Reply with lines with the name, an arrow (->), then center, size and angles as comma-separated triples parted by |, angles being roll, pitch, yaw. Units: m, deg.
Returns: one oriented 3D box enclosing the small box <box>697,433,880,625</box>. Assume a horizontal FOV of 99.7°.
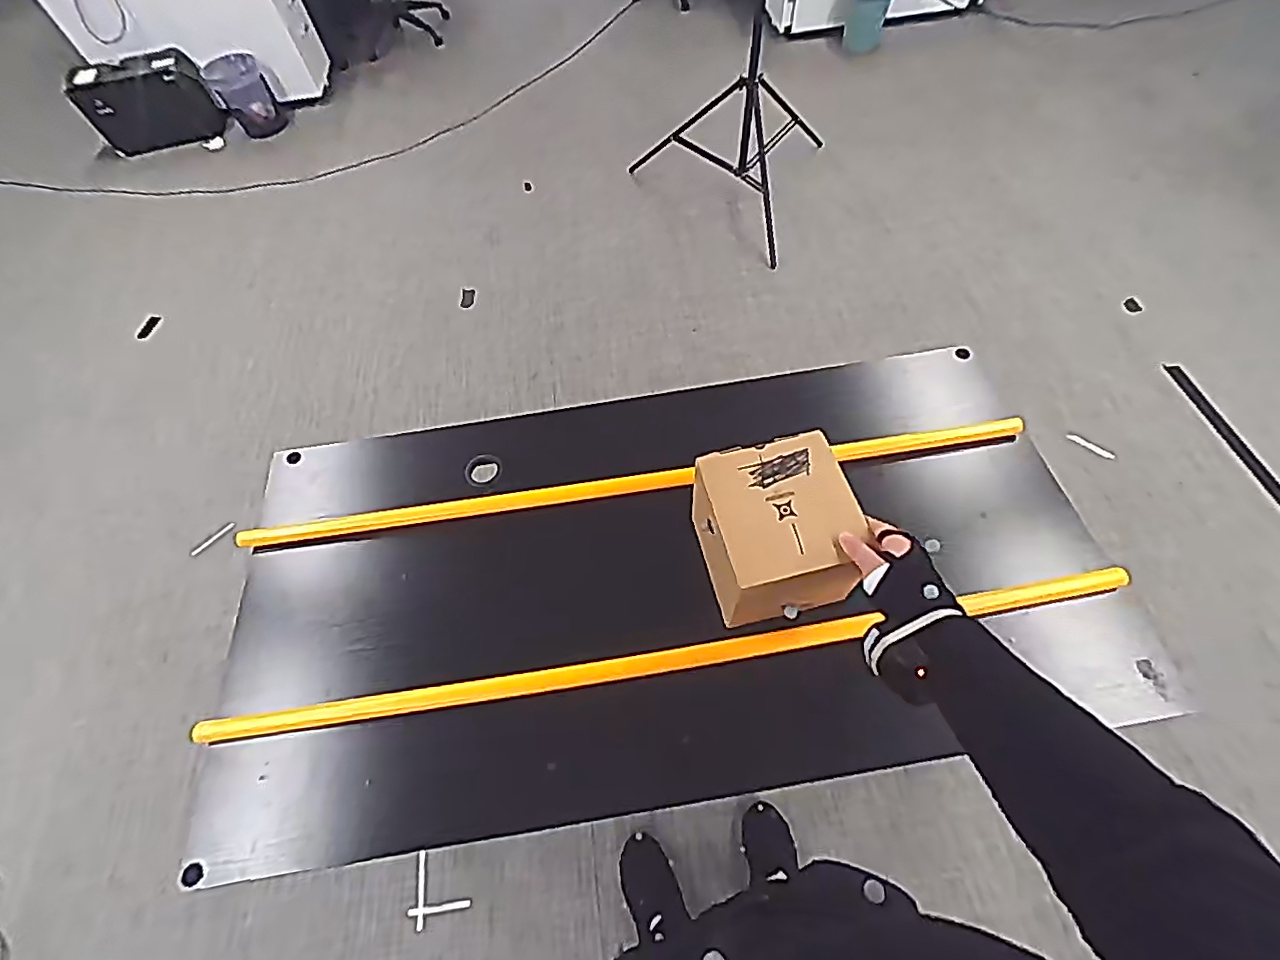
small box -> 0.174, 0.068, 0.704 | 0.168, 0.176, 0.179 | -13, 61, -3
